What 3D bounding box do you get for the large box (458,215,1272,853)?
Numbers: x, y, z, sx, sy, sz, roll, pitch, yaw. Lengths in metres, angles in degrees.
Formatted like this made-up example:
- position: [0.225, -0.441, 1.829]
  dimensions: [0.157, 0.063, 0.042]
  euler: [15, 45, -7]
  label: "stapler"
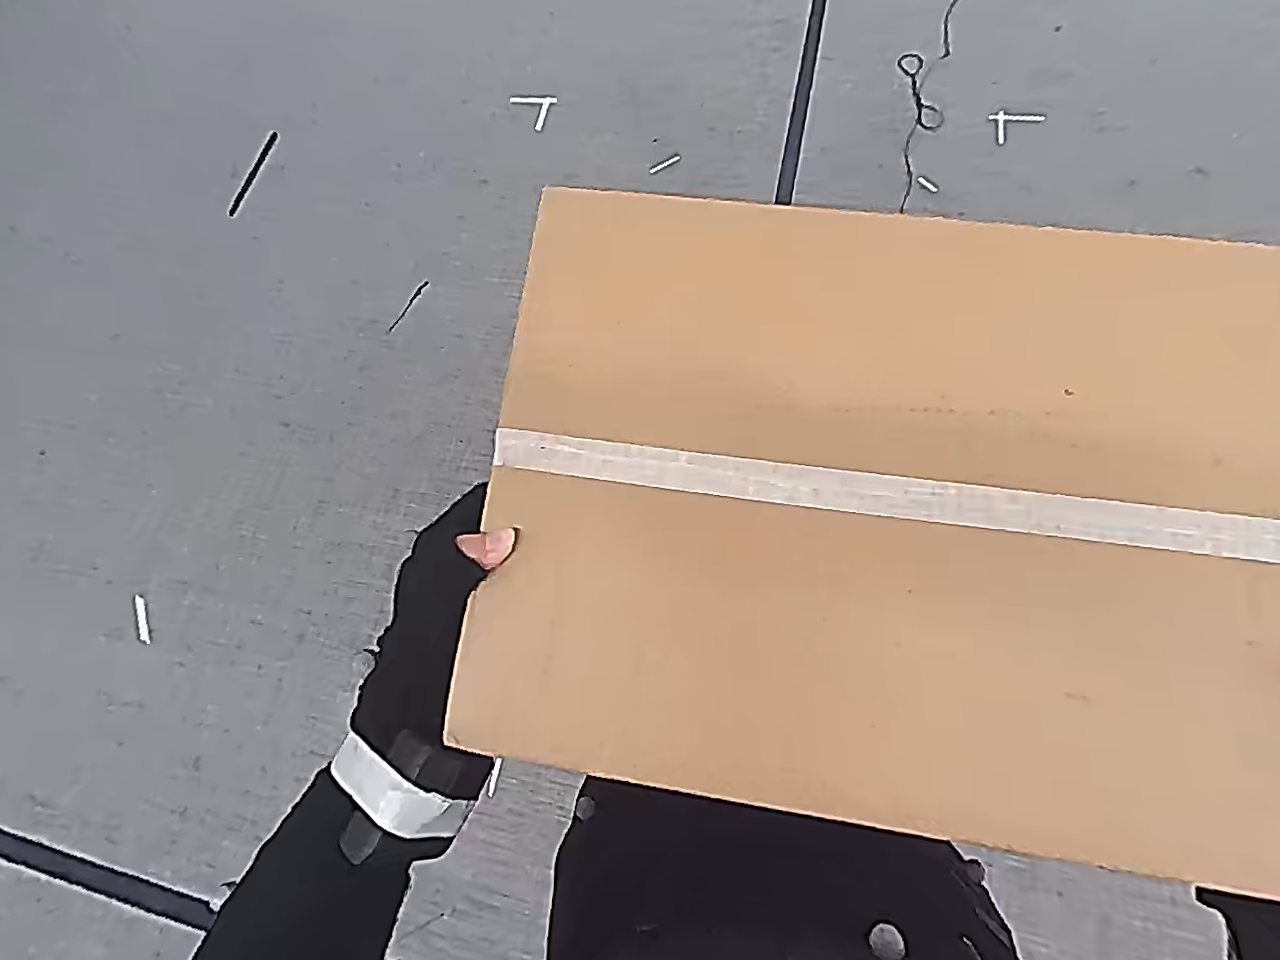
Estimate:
- position: [0.128, 0.029, 0.436]
  dimensions: [0.408, 0.320, 0.320]
  euler: [6, 81, 5]
  label: "large box"
